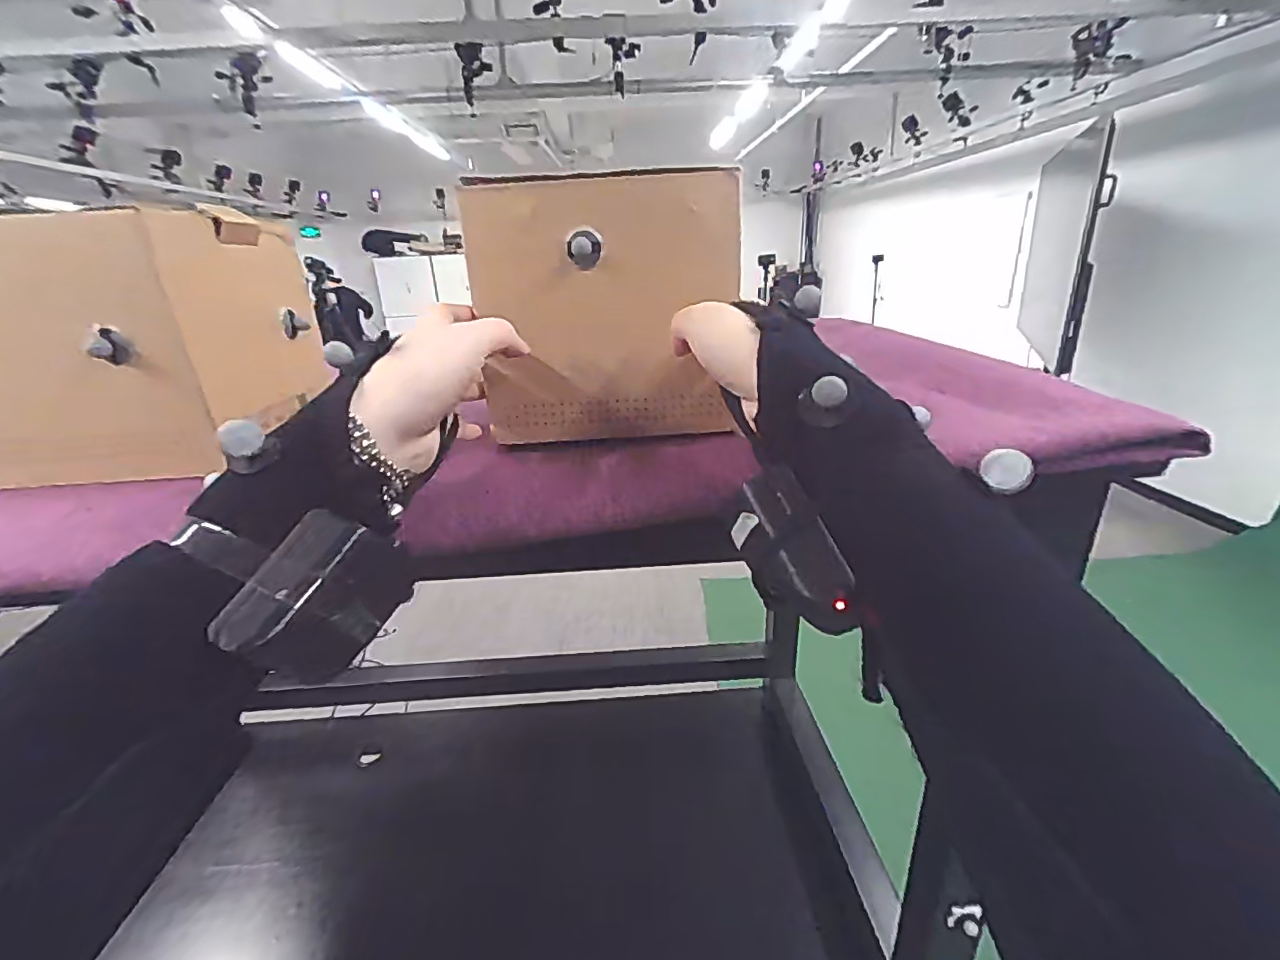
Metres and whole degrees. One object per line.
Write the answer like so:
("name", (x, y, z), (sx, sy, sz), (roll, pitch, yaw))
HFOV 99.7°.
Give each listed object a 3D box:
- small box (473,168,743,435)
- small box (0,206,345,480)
("small box", (-0.017, -0.134, 0.438), (0.179, 0.176, 0.168), (-2, 18, 0))
("small box", (-0.362, -0.107, 0.418), (0.179, 0.176, 0.168), (-4, 21, -2))
